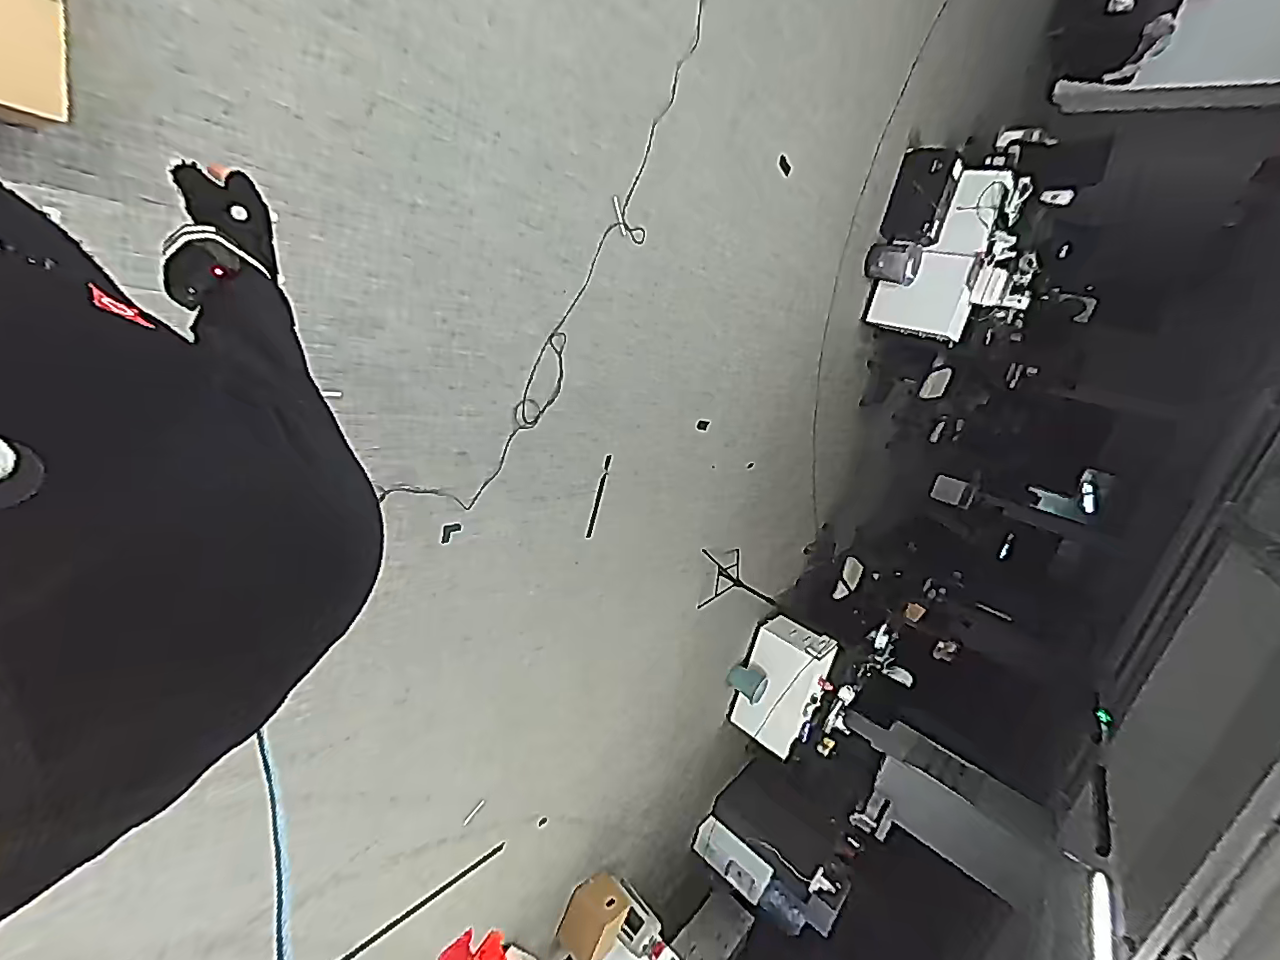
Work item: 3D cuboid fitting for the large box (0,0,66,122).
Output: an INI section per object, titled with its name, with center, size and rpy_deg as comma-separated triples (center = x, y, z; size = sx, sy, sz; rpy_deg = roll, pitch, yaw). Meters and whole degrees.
[large box]
center = -1.007, -0.681, 0.642
size = 0.408, 0.320, 0.320
rpy_deg = -7, 117, -52
